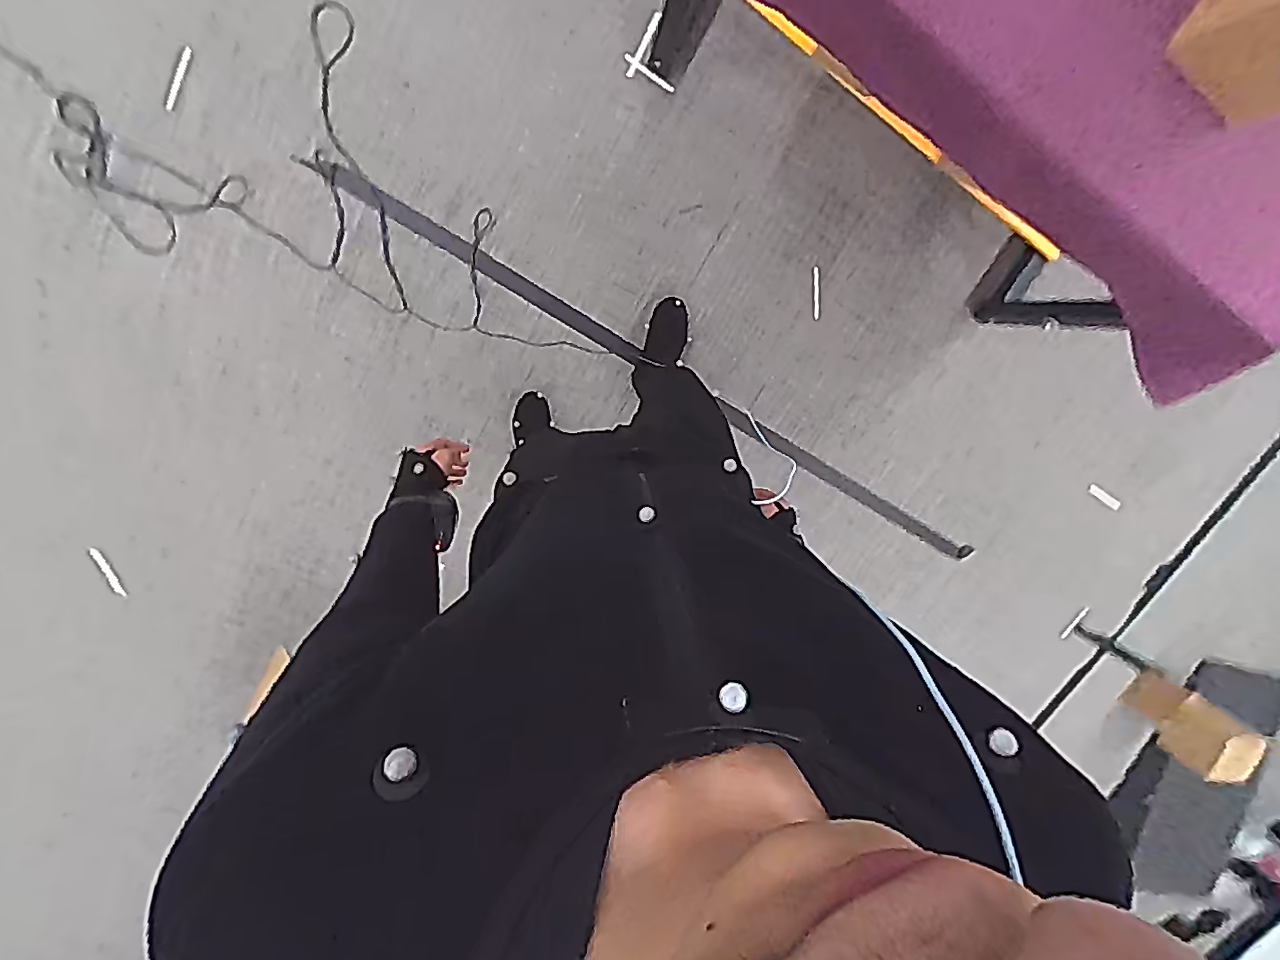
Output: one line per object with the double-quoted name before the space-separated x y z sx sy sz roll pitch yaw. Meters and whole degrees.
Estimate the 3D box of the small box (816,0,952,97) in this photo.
"small box" 0.519 -0.983 1.178 0.179 0.176 0.168 25 103 -15

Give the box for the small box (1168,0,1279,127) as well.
"small box" 0.863 -0.594 0.694 0.179 0.176 0.168 31 102 -14
